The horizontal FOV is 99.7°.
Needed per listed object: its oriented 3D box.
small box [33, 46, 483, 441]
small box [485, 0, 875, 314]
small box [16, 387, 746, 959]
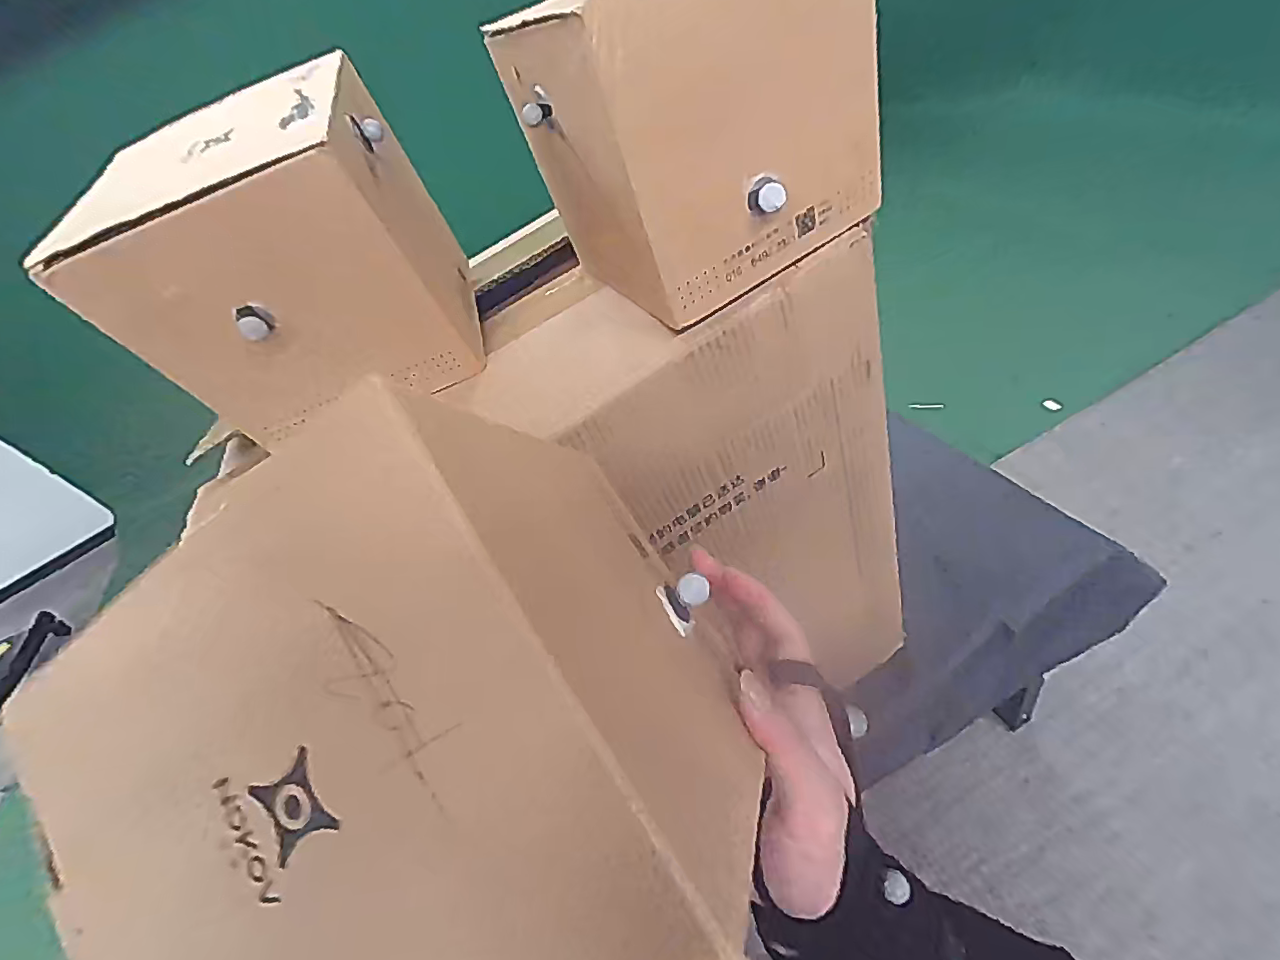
[{"bbox_3d":[-0.237,-0.156,0.388,0.179,0.176,0.168,-22,54,4],"label":"small box"},{"bbox_3d":[0.027,-0.236,0.354,0.168,0.176,0.179,-32,44,-6],"label":"small box"},{"bbox_3d":[-0.074,0.095,0.224,0.179,0.176,0.168,-38,77,9],"label":"small box"}]
